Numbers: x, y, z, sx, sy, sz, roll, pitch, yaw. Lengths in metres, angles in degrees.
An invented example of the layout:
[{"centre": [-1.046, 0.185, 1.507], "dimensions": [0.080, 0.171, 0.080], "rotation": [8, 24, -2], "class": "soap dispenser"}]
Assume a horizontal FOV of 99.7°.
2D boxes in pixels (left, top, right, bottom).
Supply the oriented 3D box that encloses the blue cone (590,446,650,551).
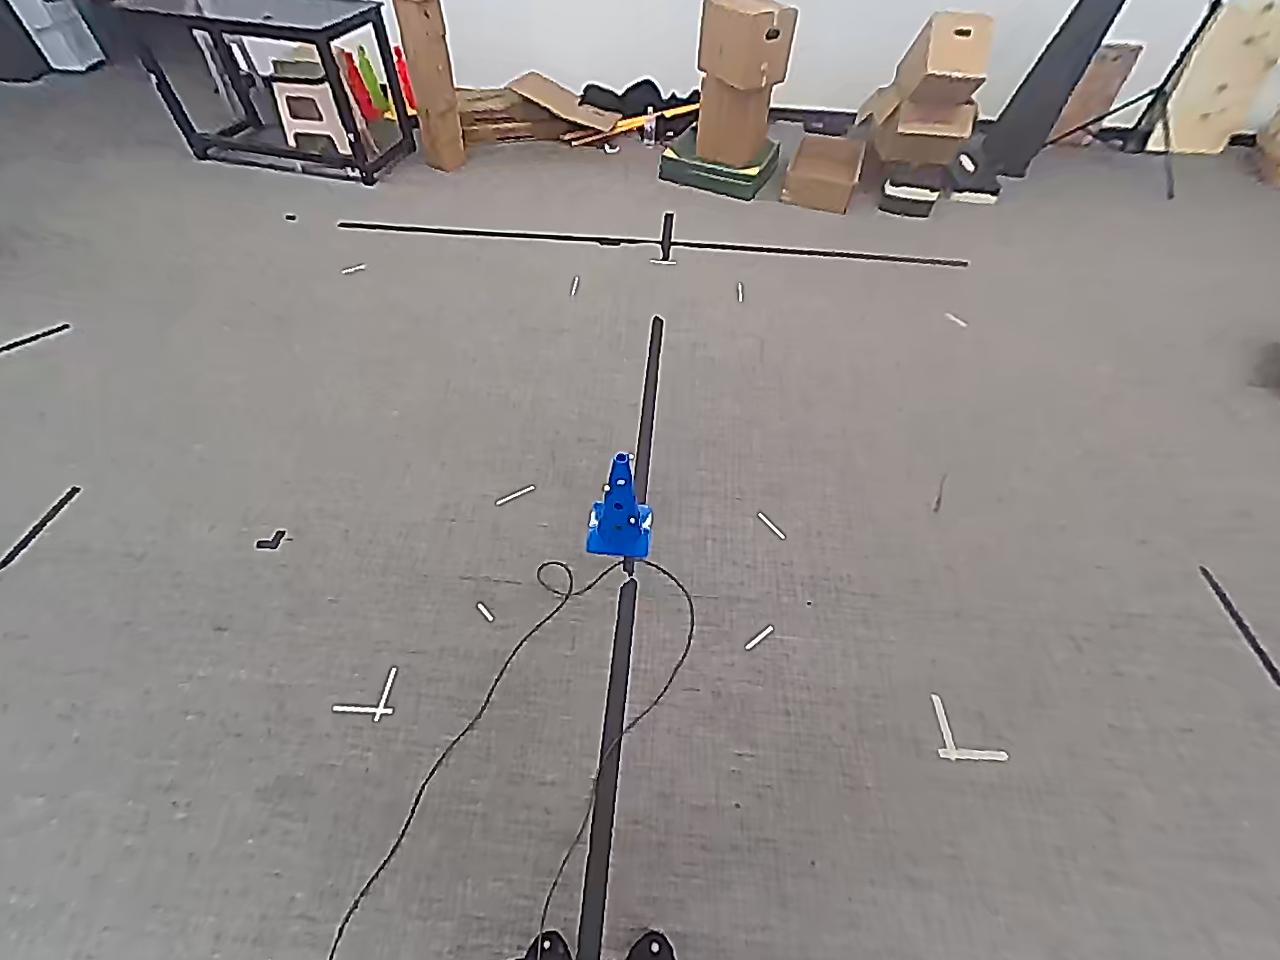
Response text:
[{"centre": [-0.060, 0.043, 1.601], "dimensions": [0.193, 0.380, 0.192], "rotation": [3, 52, 1], "class": "blue cone"}]
